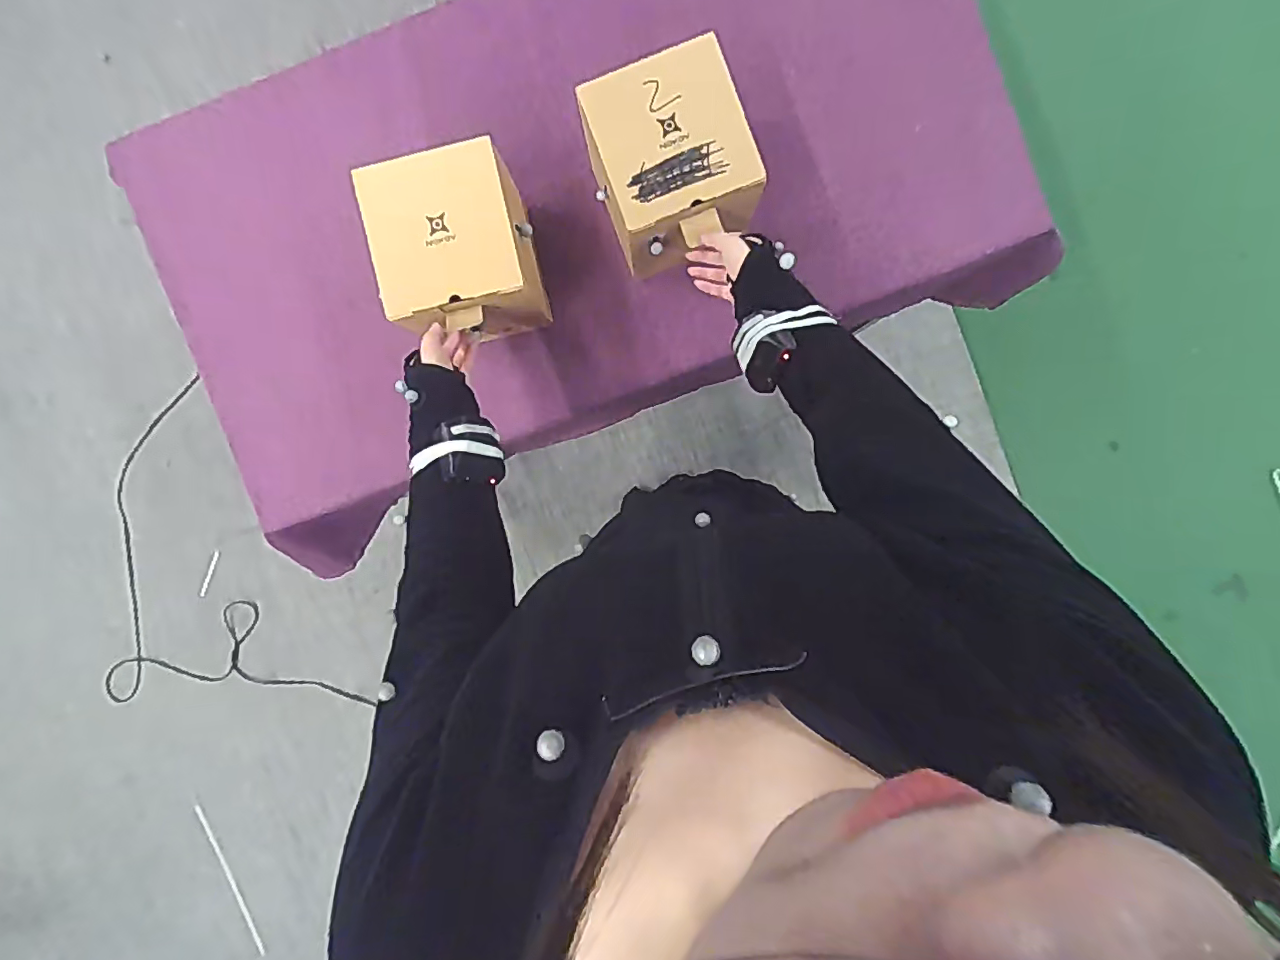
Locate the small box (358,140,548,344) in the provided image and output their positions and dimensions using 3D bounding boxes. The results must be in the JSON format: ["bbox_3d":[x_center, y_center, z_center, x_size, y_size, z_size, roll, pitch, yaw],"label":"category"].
[{"bbox_3d":[-0.230,-0.295,0.707,0.168,0.176,0.179,-13,93,2],"label":"small box"}]
